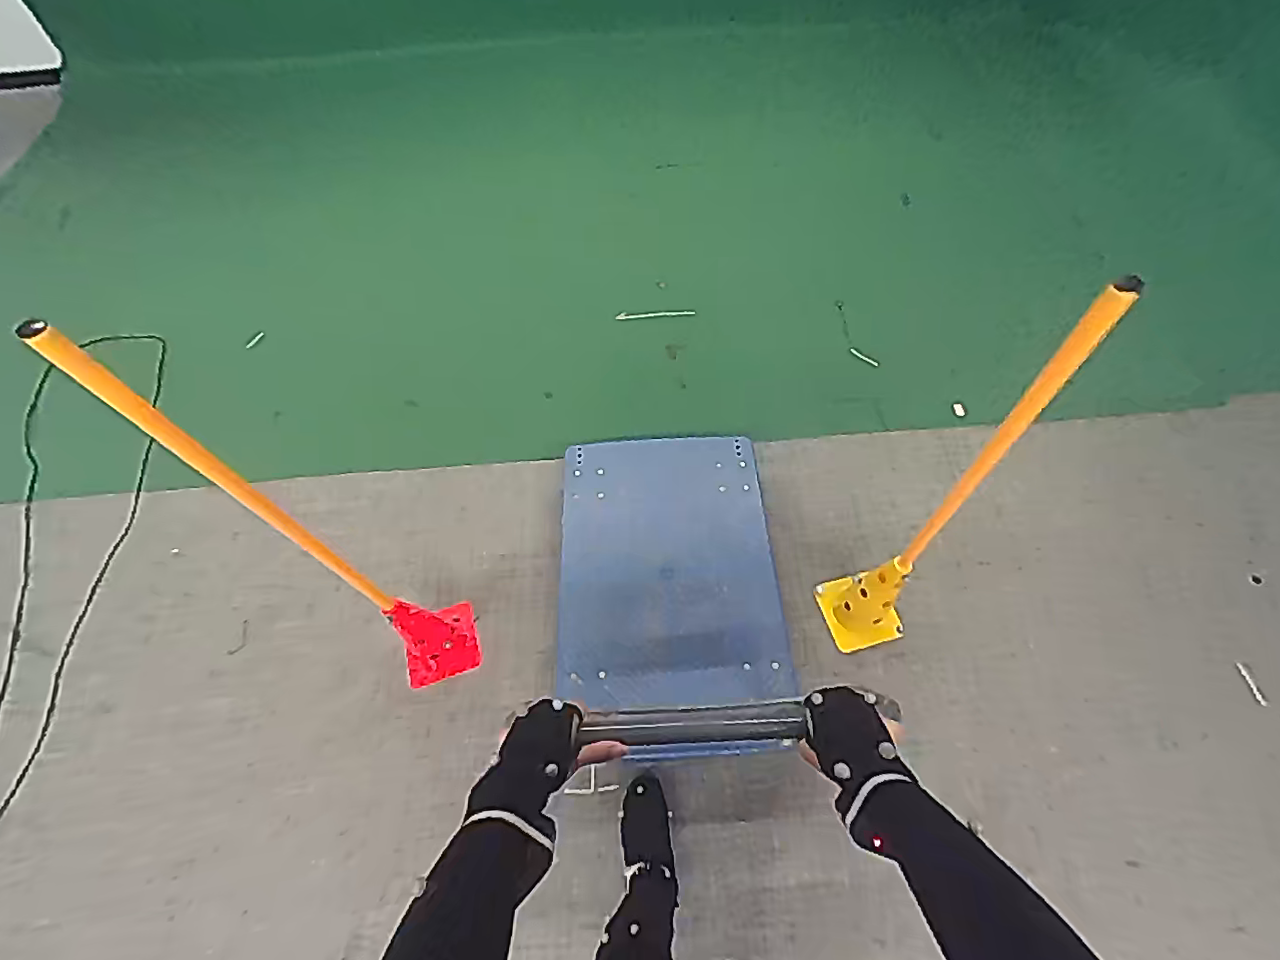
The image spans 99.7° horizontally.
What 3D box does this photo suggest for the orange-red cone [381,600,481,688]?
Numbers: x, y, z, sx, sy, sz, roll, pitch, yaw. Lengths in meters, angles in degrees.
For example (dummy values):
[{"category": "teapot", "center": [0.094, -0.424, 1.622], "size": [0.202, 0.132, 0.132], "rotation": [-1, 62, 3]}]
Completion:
[{"category": "orange-red cone", "center": [-0.566, 0.382, 1.381], "size": [0.199, 0.360, 0.198], "rotation": [-18, 60, -6]}]
